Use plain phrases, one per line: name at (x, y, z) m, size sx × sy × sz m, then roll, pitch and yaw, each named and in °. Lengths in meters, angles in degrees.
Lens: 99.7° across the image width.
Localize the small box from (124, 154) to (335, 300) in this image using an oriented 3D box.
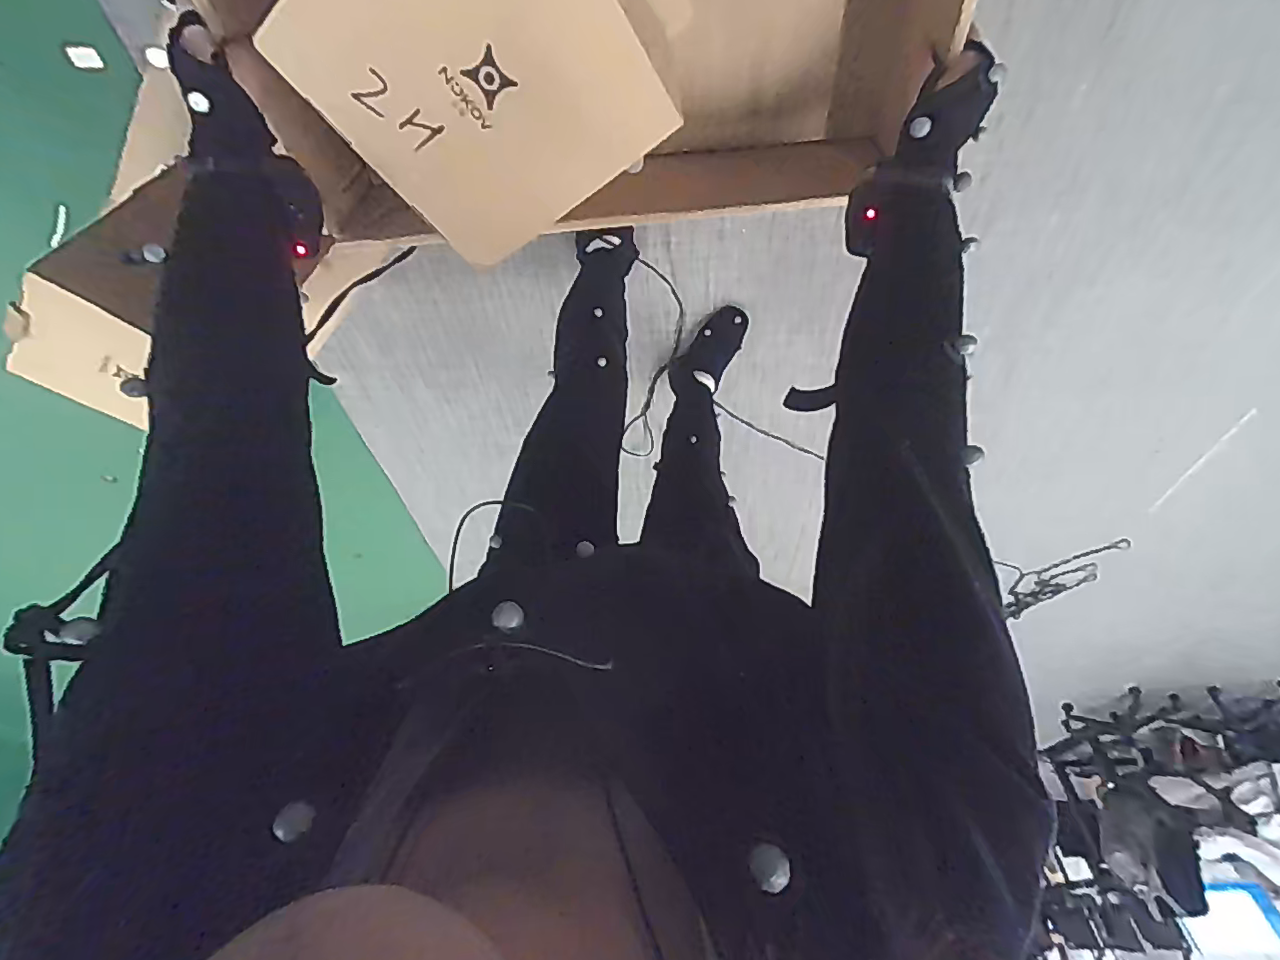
small box at (-0.558, -0.302, 0.729) m, size 0.168 × 0.176 × 0.179 m, roll -29°, pitch 132°, yaw 28°

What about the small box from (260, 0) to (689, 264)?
small box at (-0.087, -0.288, 0.350) m, size 0.179 × 0.176 × 0.168 m, roll -23°, pitch 135°, yaw 25°

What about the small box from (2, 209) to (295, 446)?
small box at (-0.547, -0.178, 0.623) m, size 0.168 × 0.176 × 0.179 m, roll -31°, pitch 131°, yaw 31°
